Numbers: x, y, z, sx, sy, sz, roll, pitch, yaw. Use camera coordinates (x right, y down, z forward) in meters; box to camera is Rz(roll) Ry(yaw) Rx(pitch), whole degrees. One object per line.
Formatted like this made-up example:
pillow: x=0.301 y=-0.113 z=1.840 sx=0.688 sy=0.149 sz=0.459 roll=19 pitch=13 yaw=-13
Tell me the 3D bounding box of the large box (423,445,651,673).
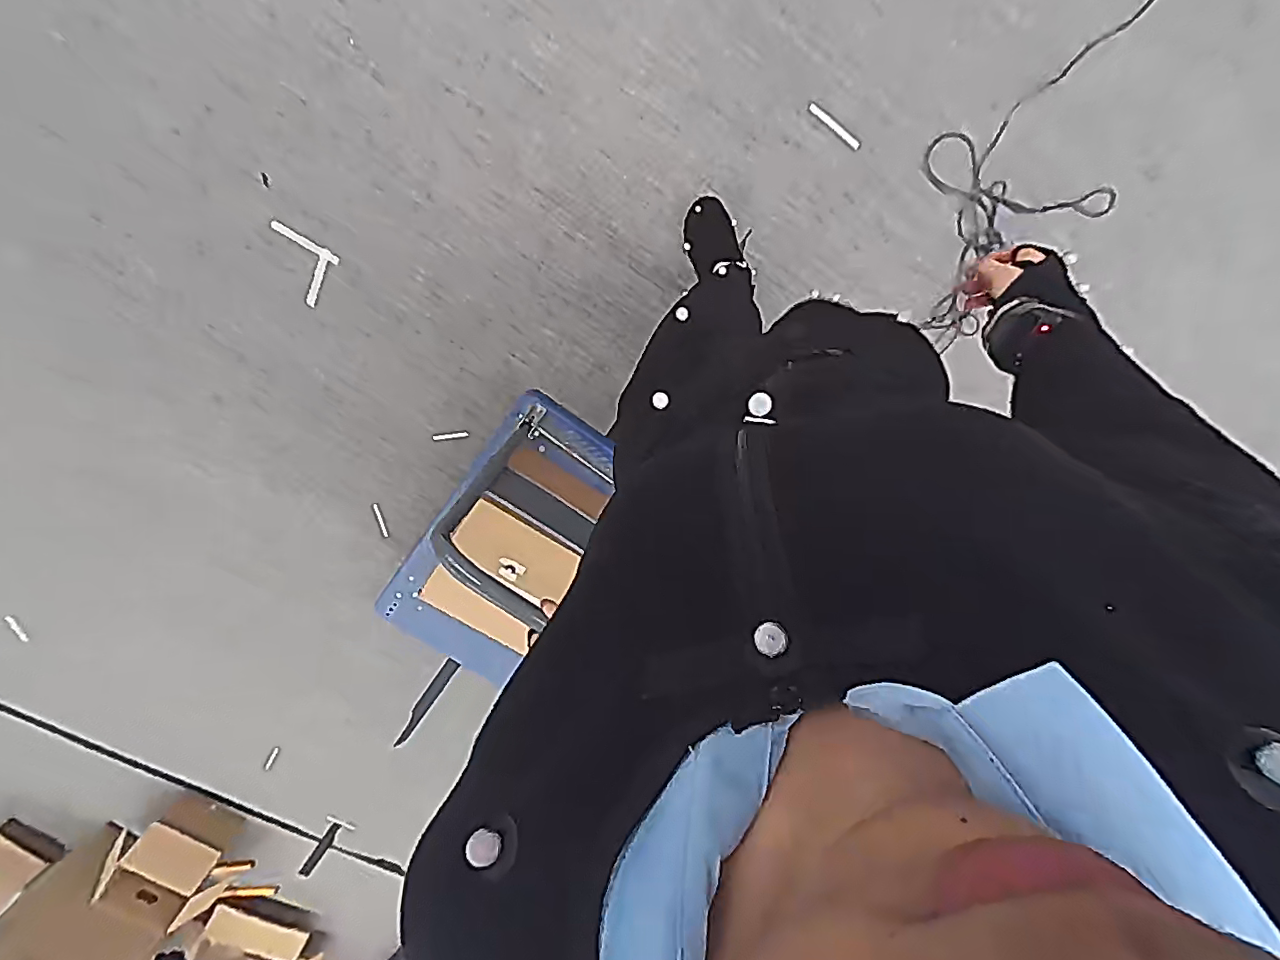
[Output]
large box: x=-0.226 y=0.182 z=1.315 sx=0.408 sy=0.320 sz=0.320 roll=33 pitch=112 yaw=-10
